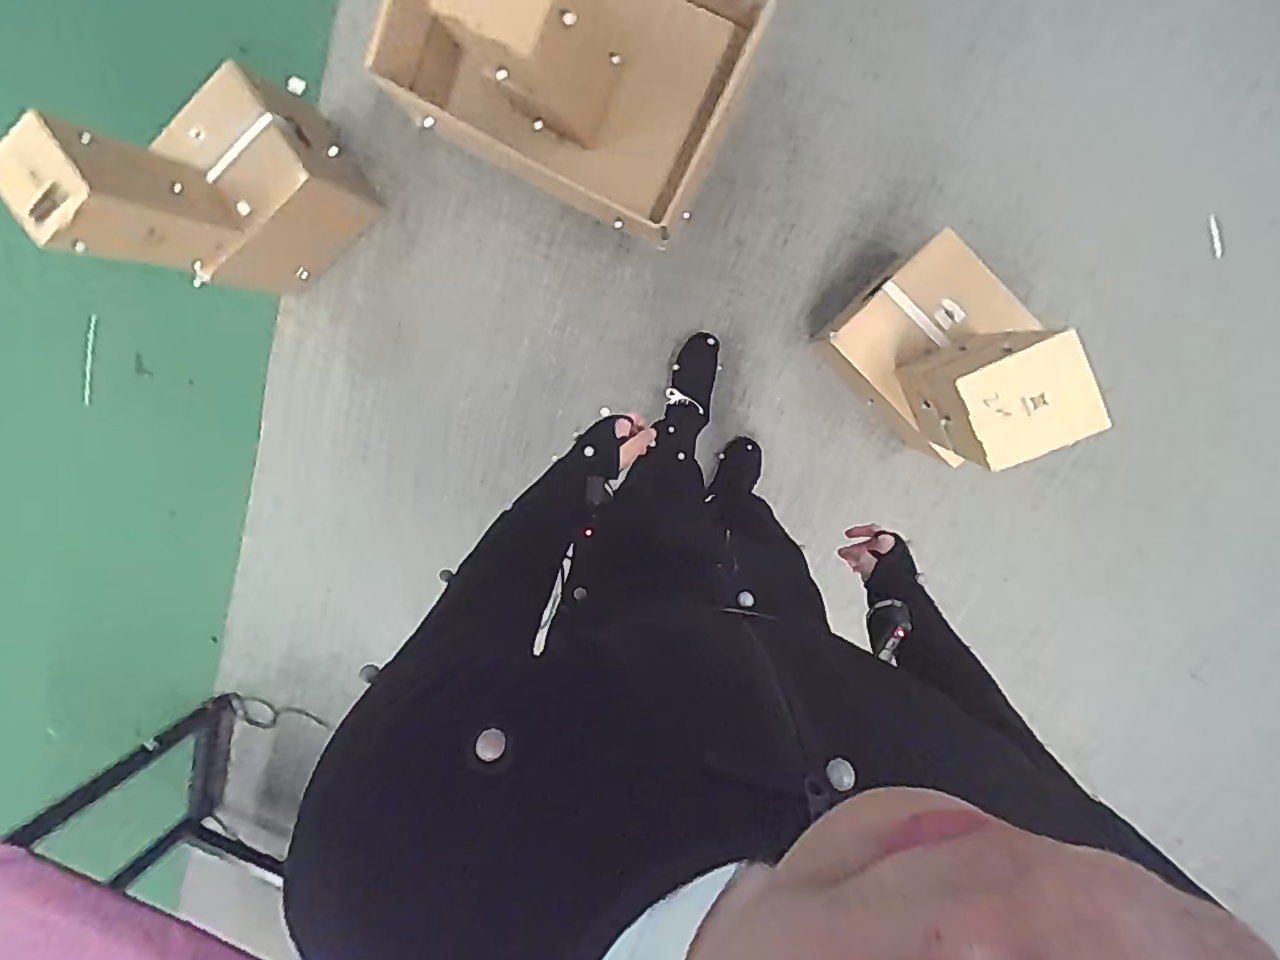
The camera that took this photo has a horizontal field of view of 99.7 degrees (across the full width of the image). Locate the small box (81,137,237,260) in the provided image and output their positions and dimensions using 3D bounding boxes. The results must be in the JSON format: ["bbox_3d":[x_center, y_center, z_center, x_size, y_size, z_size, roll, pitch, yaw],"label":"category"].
[{"bbox_3d":[-1.079,-0.623,1.229,0.168,0.176,0.179,-29,96,13],"label":"small box"}]

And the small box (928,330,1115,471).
[{"bbox_3d":[0.621,-0.137,0.902,0.179,0.176,0.168,-25,97,15],"label":"small box"}]

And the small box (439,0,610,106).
[{"bbox_3d":[-0.158,-0.708,0.796,0.168,0.176,0.179,30,106,3],"label":"small box"}]

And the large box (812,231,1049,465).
[{"bbox_3d":[0.679,-0.298,1.283,0.408,0.320,0.320,45,104,-1],"label":"large box"}]

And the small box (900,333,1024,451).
[{"bbox_3d":[0.645,-0.176,1.061,0.179,0.176,0.168,-24,98,14],"label":"small box"}]
